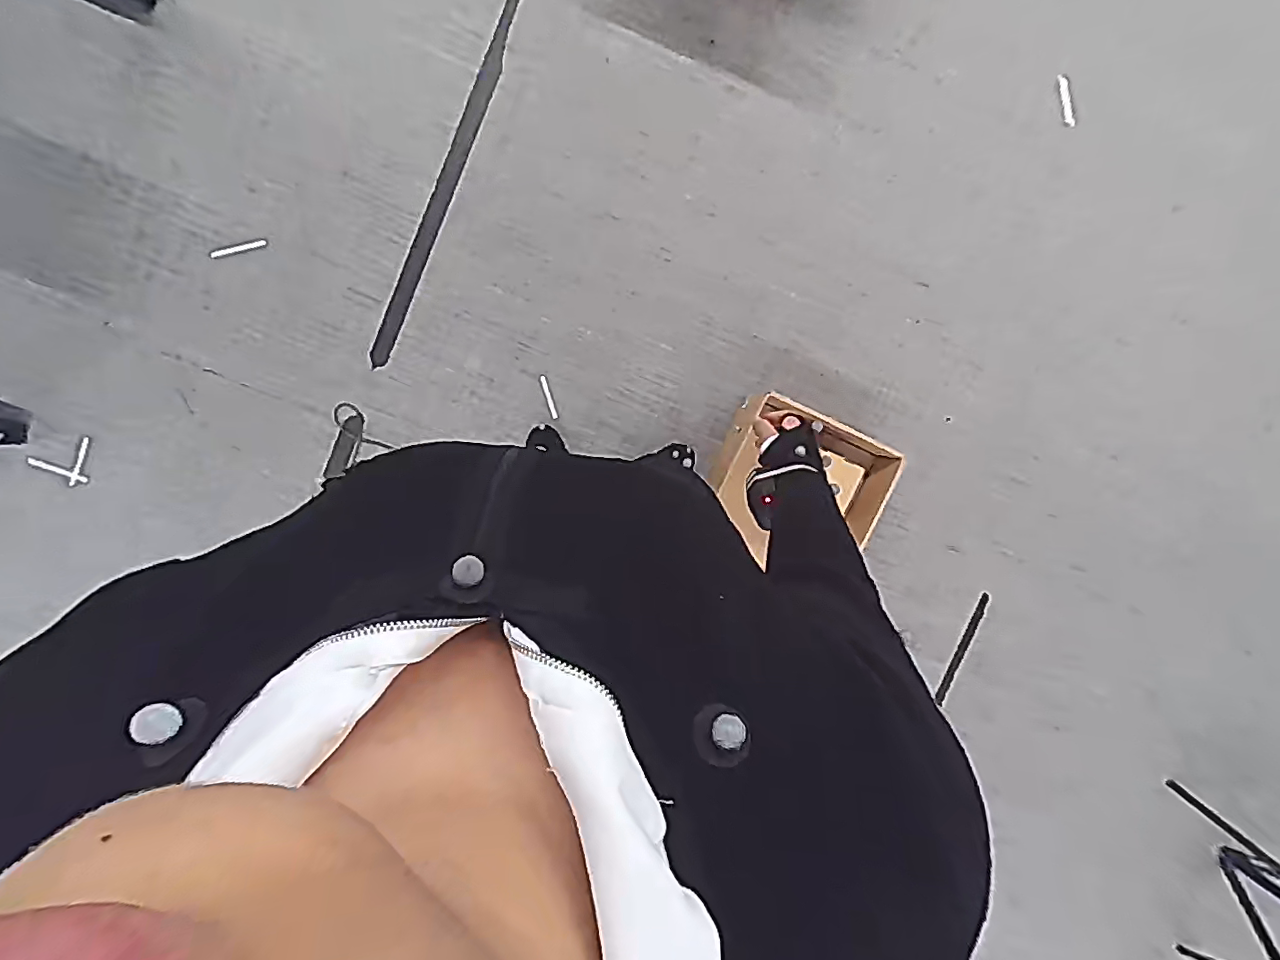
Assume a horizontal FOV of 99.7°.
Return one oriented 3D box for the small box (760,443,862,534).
[{"bbox_3d":[0.427,0.013,1.385,0.168,0.176,0.179,24,96,-3],"label":"small box"}]
